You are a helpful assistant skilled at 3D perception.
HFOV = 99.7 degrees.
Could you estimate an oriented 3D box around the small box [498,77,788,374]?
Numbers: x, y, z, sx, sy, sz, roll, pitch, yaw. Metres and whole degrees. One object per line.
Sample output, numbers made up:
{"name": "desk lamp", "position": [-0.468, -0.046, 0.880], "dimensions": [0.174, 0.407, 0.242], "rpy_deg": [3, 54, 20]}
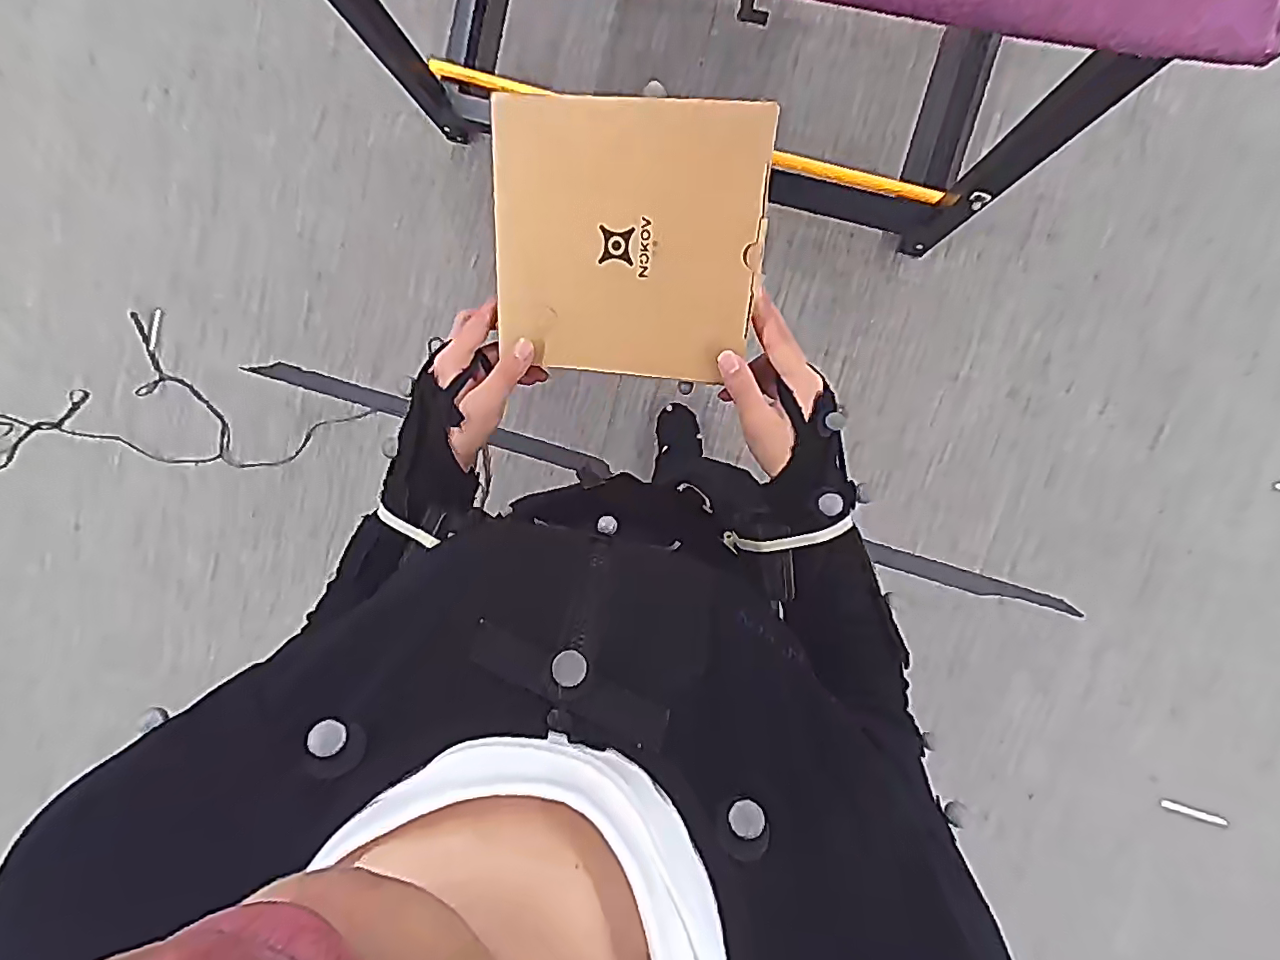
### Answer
{"name": "small box", "position": [0.005, -0.183, 0.419], "dimensions": [0.179, 0.176, 0.168], "rpy_deg": [7, 111, 6]}
